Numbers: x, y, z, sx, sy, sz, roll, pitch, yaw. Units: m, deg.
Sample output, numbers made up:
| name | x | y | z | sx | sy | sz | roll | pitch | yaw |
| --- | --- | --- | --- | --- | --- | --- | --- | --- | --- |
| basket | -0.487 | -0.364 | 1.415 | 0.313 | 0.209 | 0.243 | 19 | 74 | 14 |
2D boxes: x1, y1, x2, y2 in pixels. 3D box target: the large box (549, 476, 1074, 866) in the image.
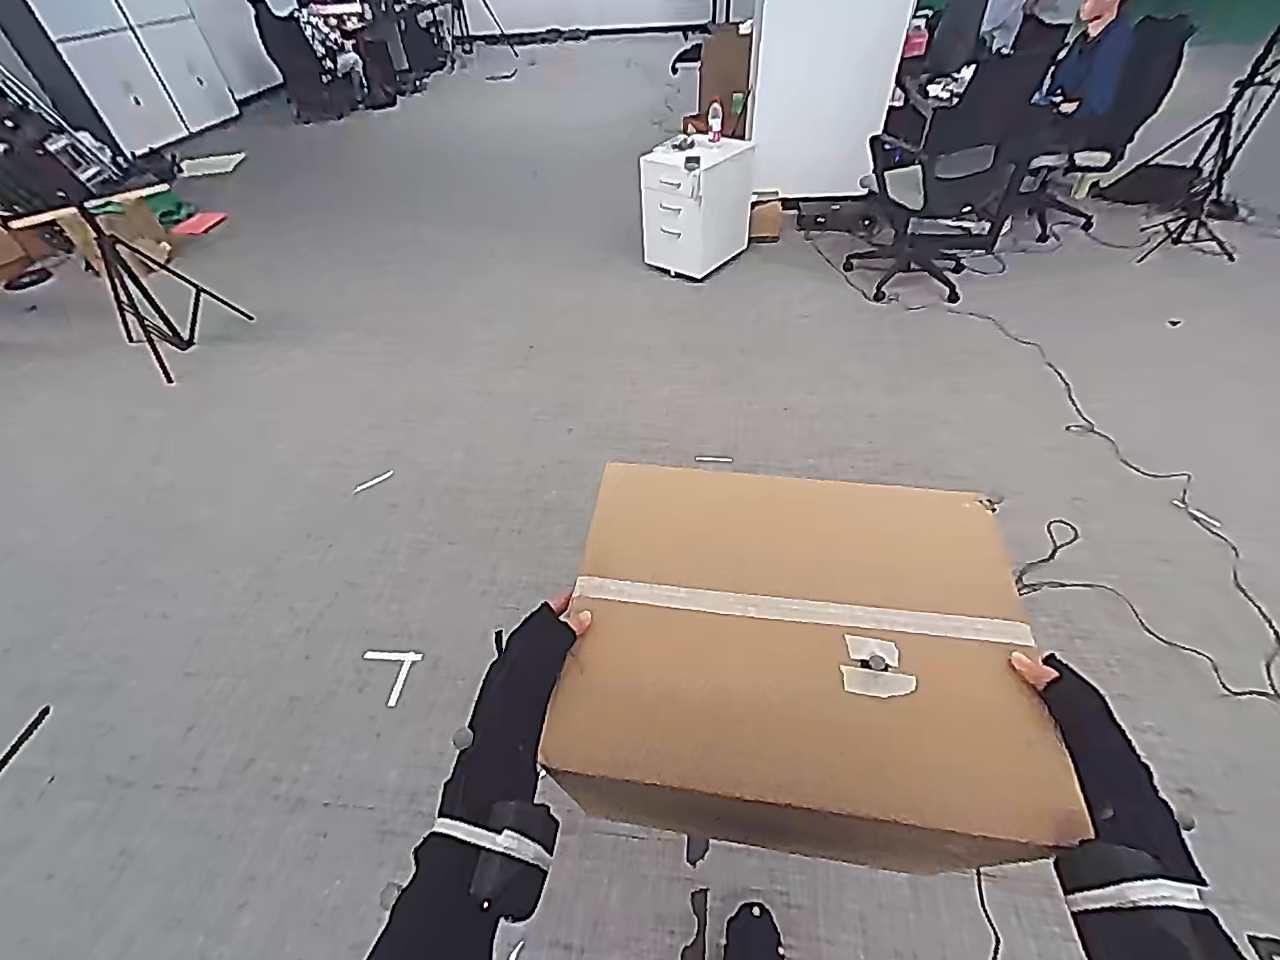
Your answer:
| name | x | y | z | sx | sy | sz | roll | pitch | yaw |
| --- | --- | --- | --- | --- | --- | --- | --- | --- | --- |
| large box | 0.144 | 0.220 | 0.619 | 0.408 | 0.320 | 0.320 | 5 | 53 | 7 |
